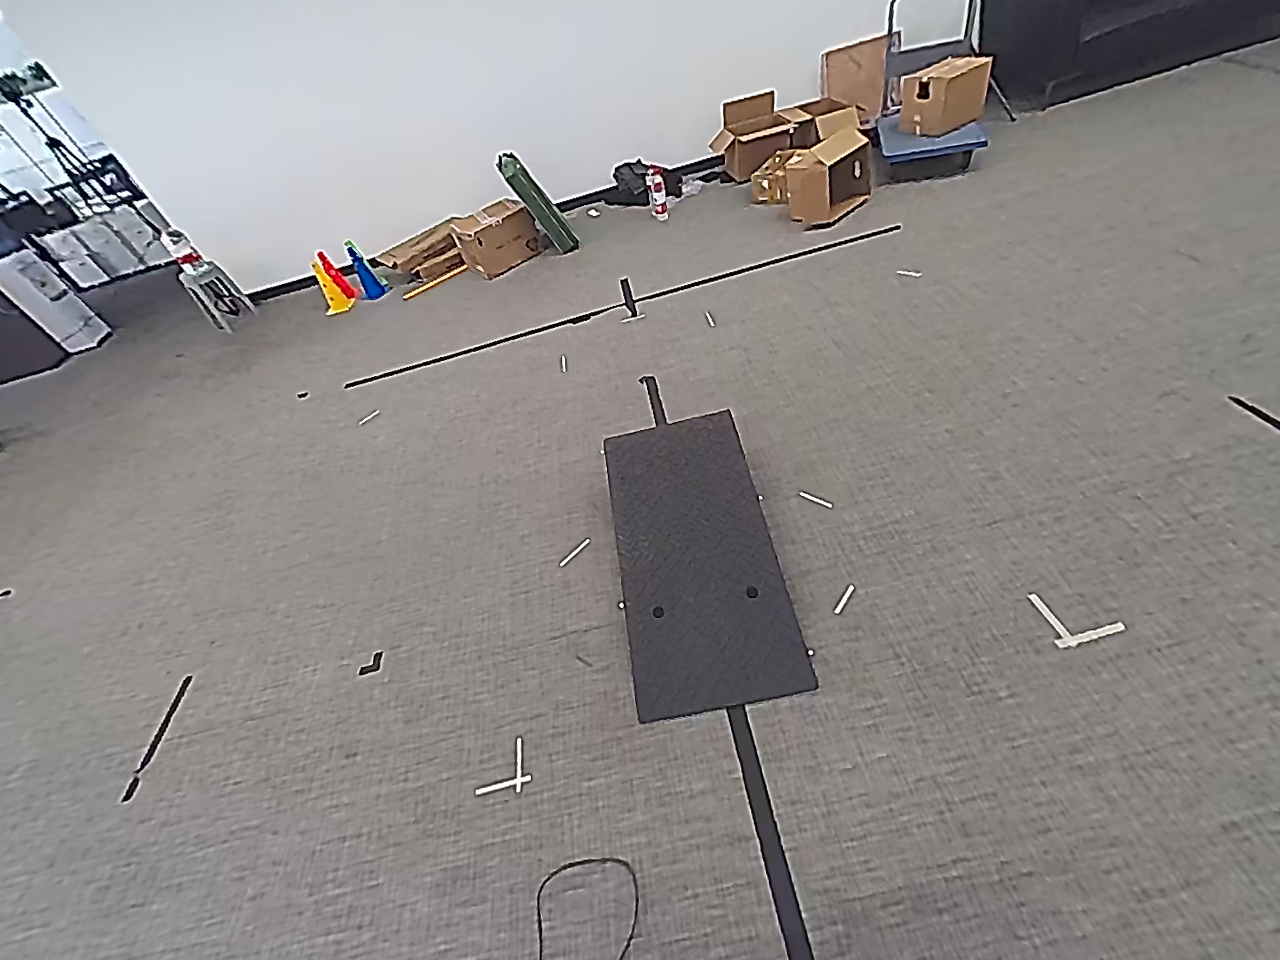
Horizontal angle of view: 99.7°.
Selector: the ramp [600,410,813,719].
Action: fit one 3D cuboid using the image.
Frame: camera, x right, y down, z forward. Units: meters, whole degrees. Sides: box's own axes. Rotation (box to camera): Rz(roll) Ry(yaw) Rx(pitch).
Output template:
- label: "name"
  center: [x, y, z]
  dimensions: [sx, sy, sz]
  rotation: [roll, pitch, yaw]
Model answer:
- label: "ramp"
  center: [0.160, 0.199, 1.736]
  dimensions: [0.509, 0.206, 0.991]
  rotation: [-14, 45, 3]
